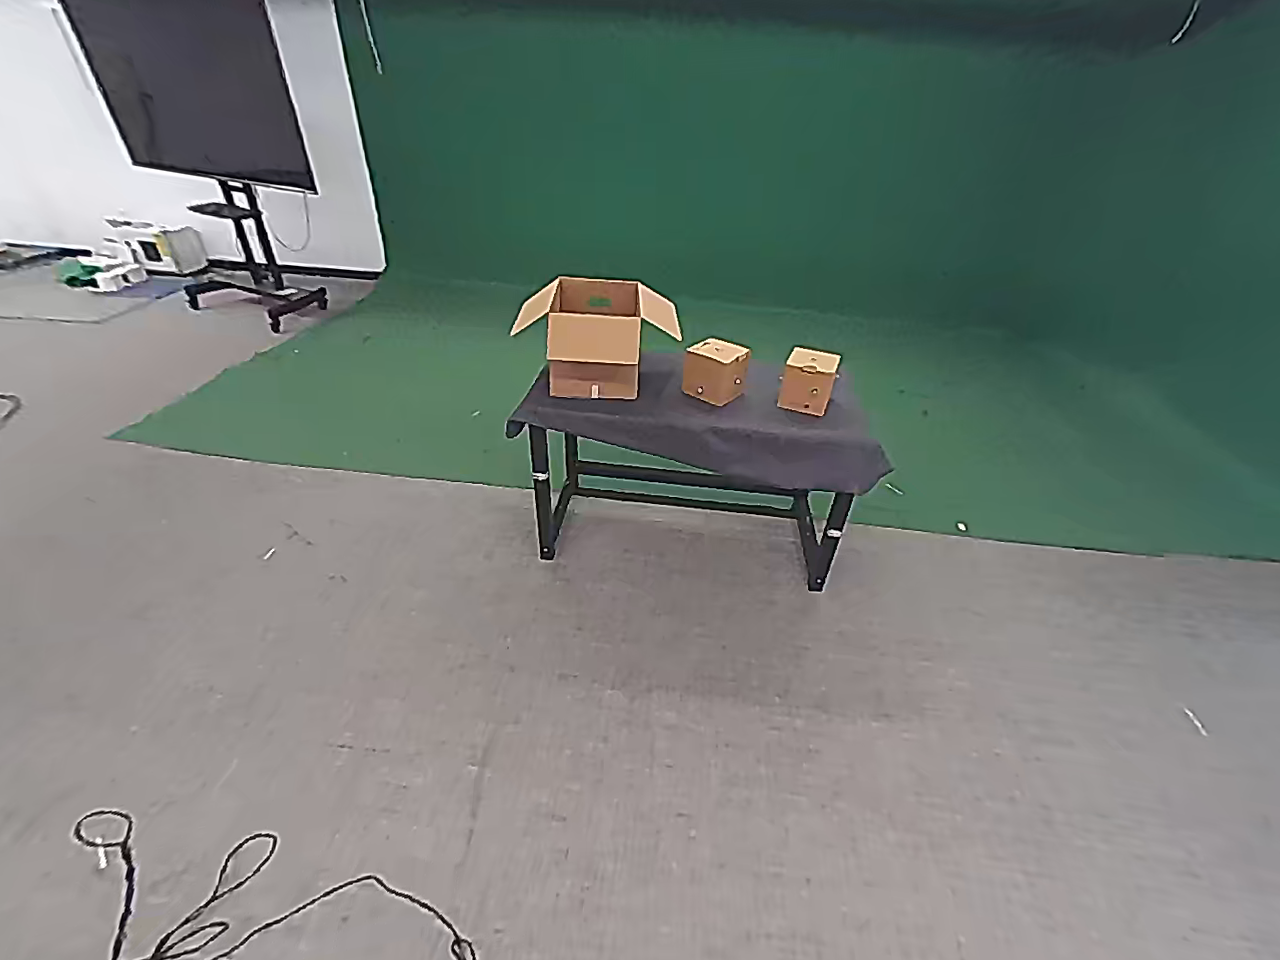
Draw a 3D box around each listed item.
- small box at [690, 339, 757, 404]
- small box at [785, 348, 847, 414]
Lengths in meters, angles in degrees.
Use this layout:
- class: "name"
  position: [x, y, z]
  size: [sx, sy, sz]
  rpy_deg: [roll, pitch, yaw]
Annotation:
- class: "small box"
  position: [0.300, -0.392, 1.971]
  size: [0.179, 0.176, 0.168]
  rpy_deg: [28, 43, 31]
- class: "small box"
  position: [0.627, -0.354, 1.937]
  size: [0.168, 0.176, 0.179]
  rpy_deg: [17, 37, 17]
